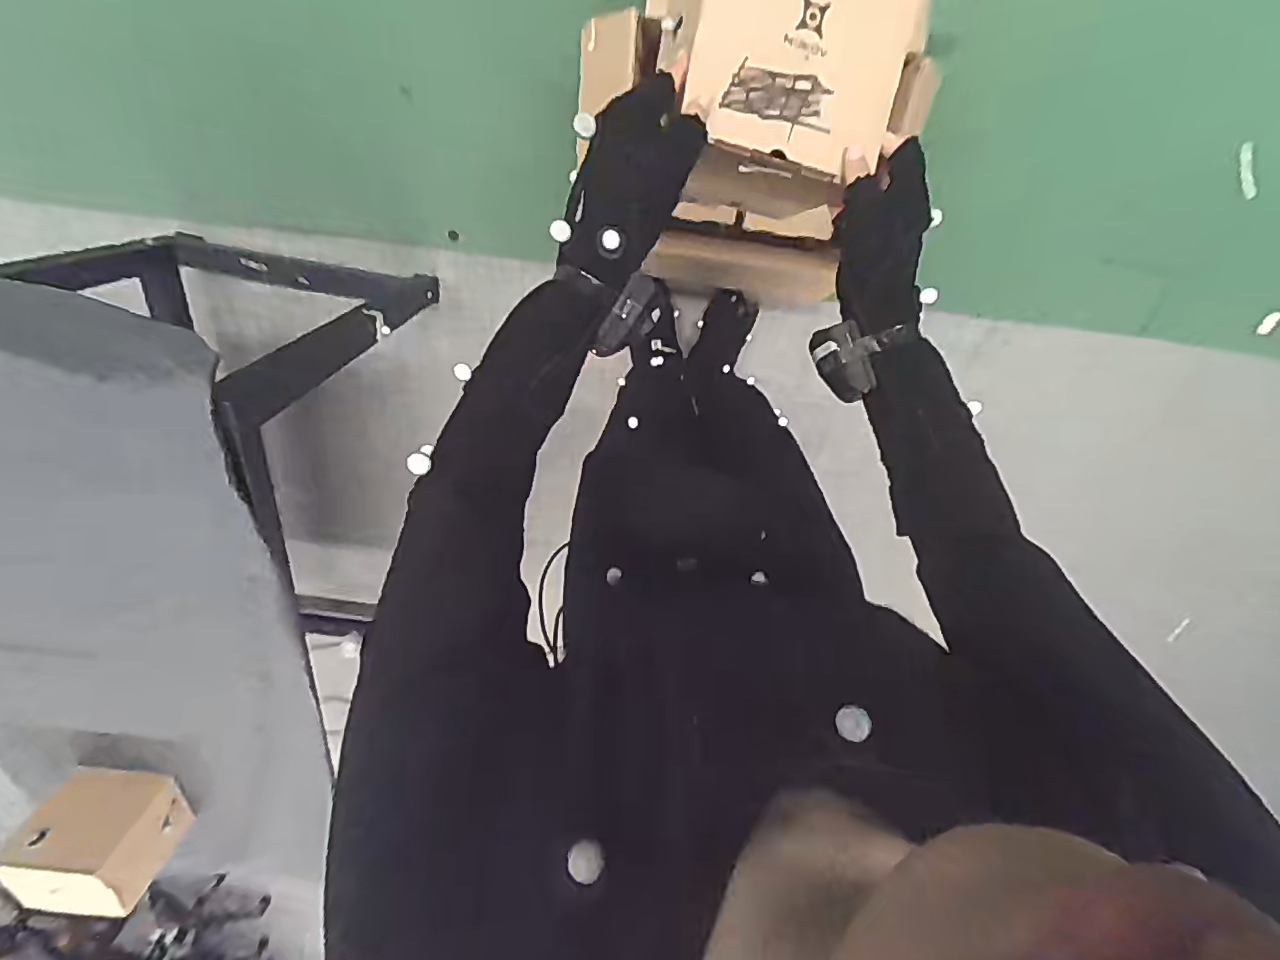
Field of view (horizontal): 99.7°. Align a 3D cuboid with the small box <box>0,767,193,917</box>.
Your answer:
[{"bbox_3d":[-0.974,0.649,0.979,0.179,0.176,0.168,8,121,-4],"label":"small box"}]
